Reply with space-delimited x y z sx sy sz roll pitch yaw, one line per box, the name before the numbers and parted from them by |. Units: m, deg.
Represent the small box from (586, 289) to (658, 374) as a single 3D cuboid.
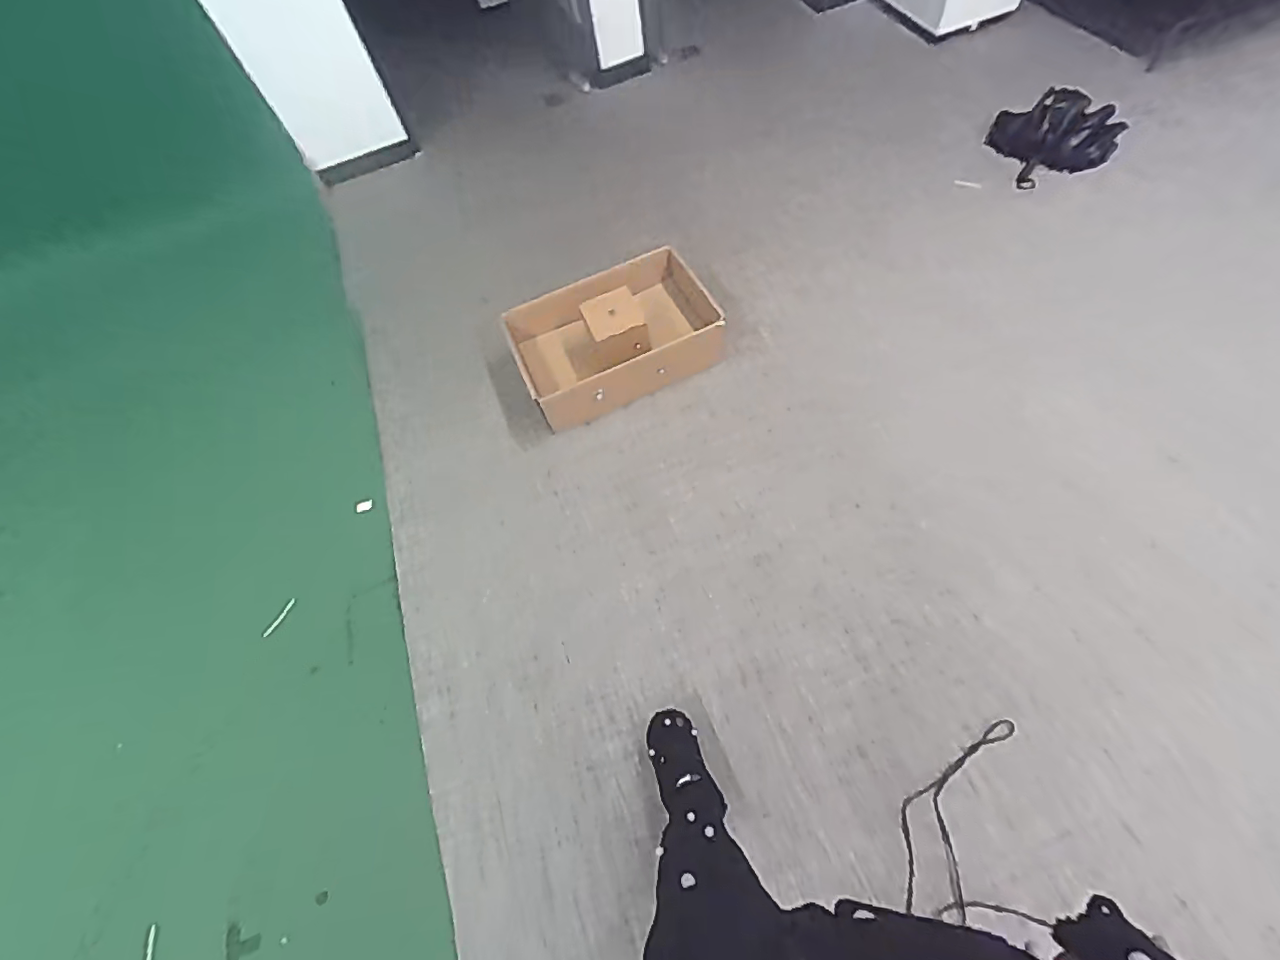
small box | -0.053 -0.458 1.703 0.168 0.176 0.179 -22 59 -5
